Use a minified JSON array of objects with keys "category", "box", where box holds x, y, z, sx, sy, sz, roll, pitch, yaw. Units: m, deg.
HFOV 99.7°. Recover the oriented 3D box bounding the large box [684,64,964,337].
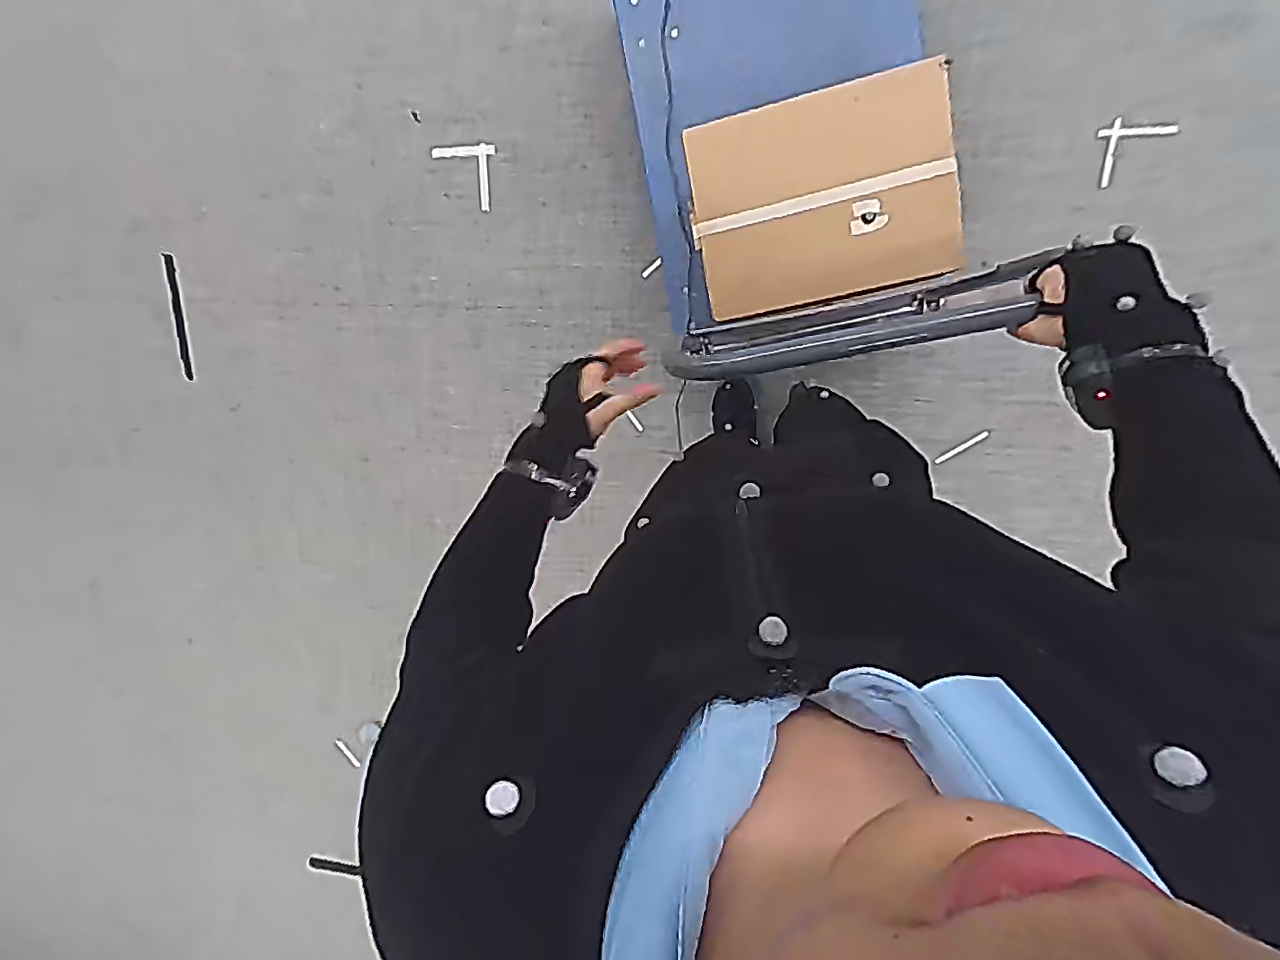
[{"category":"large box","box":[0.314,-0.469,1.011,0.408,0.320,0.320,-10,102,11]}]
